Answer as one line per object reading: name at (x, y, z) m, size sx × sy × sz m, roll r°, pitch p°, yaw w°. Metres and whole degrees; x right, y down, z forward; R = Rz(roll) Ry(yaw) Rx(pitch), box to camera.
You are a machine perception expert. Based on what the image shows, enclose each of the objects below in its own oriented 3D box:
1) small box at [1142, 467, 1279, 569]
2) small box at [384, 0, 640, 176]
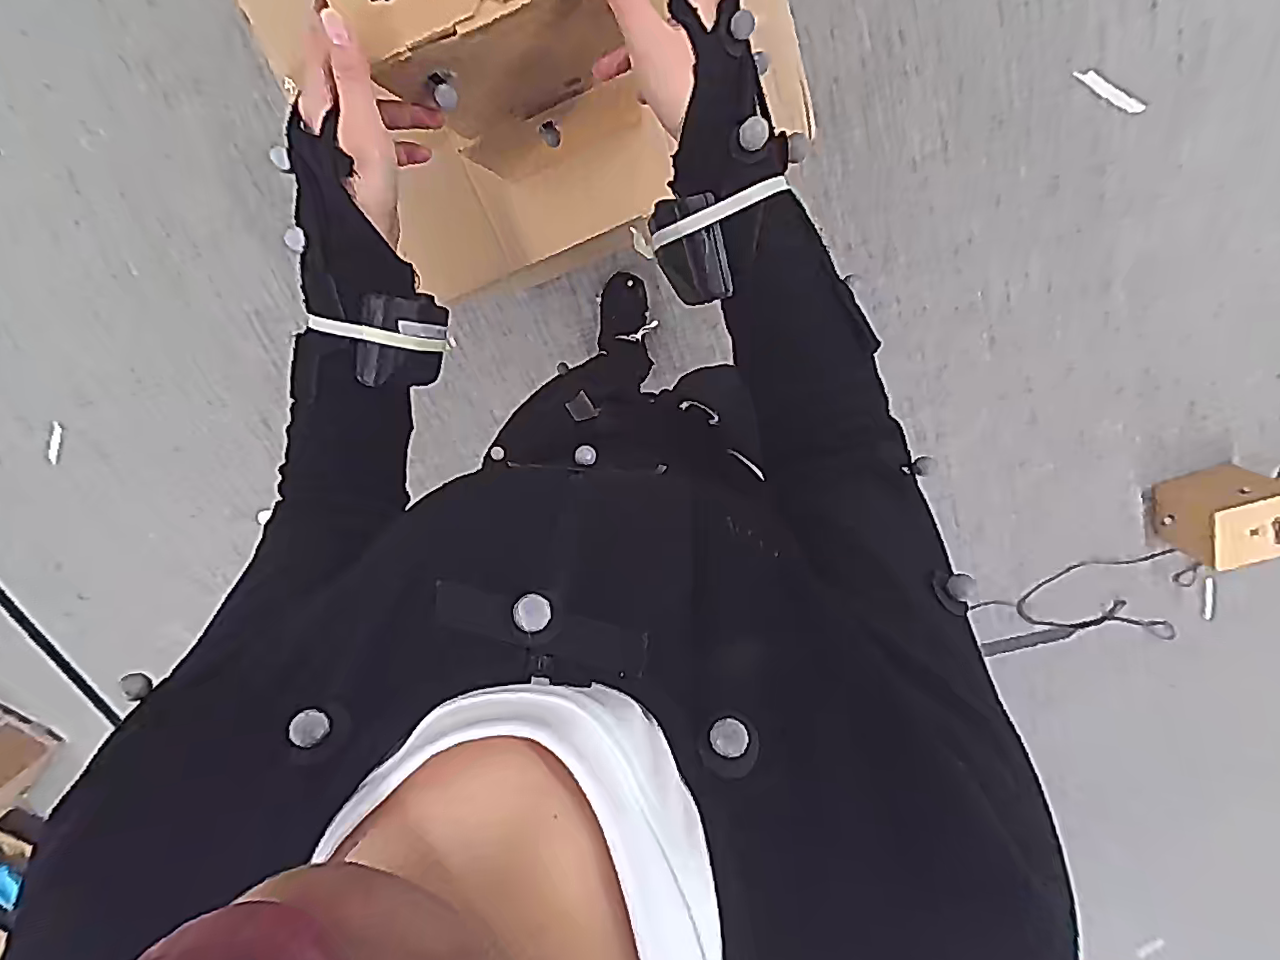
small box at (1.386, 0.086, 1.319) m, size 0.179 × 0.176 × 0.168 m, roll -19°, pitch 110°, yaw 10°
small box at (-0.108, -0.407, 0.497) m, size 0.179 × 0.176 × 0.168 m, roll -19°, pitch 110°, yaw 9°
